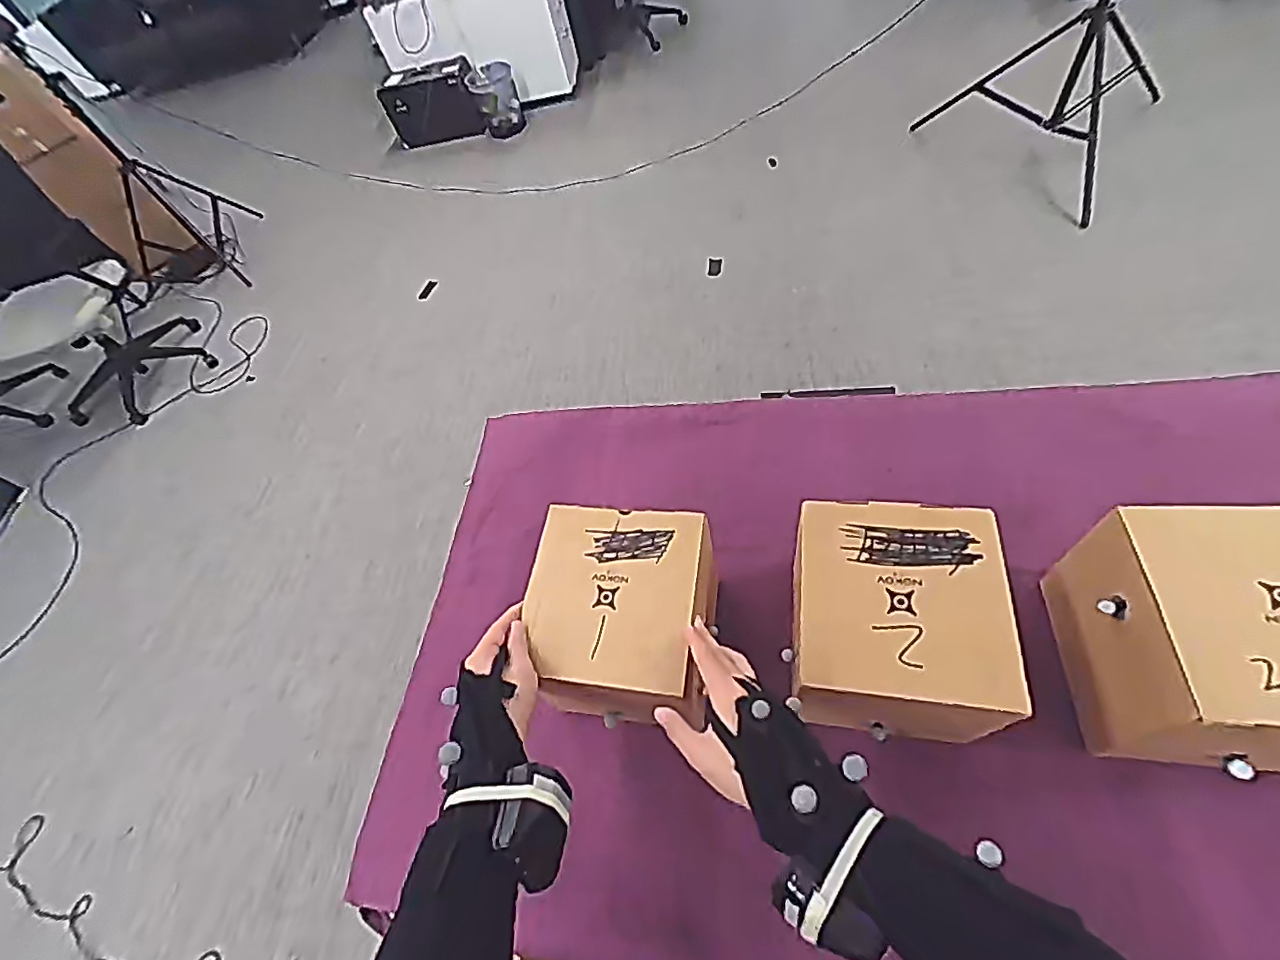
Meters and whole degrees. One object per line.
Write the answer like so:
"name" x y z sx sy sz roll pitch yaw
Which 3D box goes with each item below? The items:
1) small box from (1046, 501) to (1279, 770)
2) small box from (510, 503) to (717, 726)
"small box" 0.491 0.135 0.466 0.168 0.176 0.179 0 57 14
"small box" -0.010 0.145 0.575 0.168 0.176 0.179 2 58 15
